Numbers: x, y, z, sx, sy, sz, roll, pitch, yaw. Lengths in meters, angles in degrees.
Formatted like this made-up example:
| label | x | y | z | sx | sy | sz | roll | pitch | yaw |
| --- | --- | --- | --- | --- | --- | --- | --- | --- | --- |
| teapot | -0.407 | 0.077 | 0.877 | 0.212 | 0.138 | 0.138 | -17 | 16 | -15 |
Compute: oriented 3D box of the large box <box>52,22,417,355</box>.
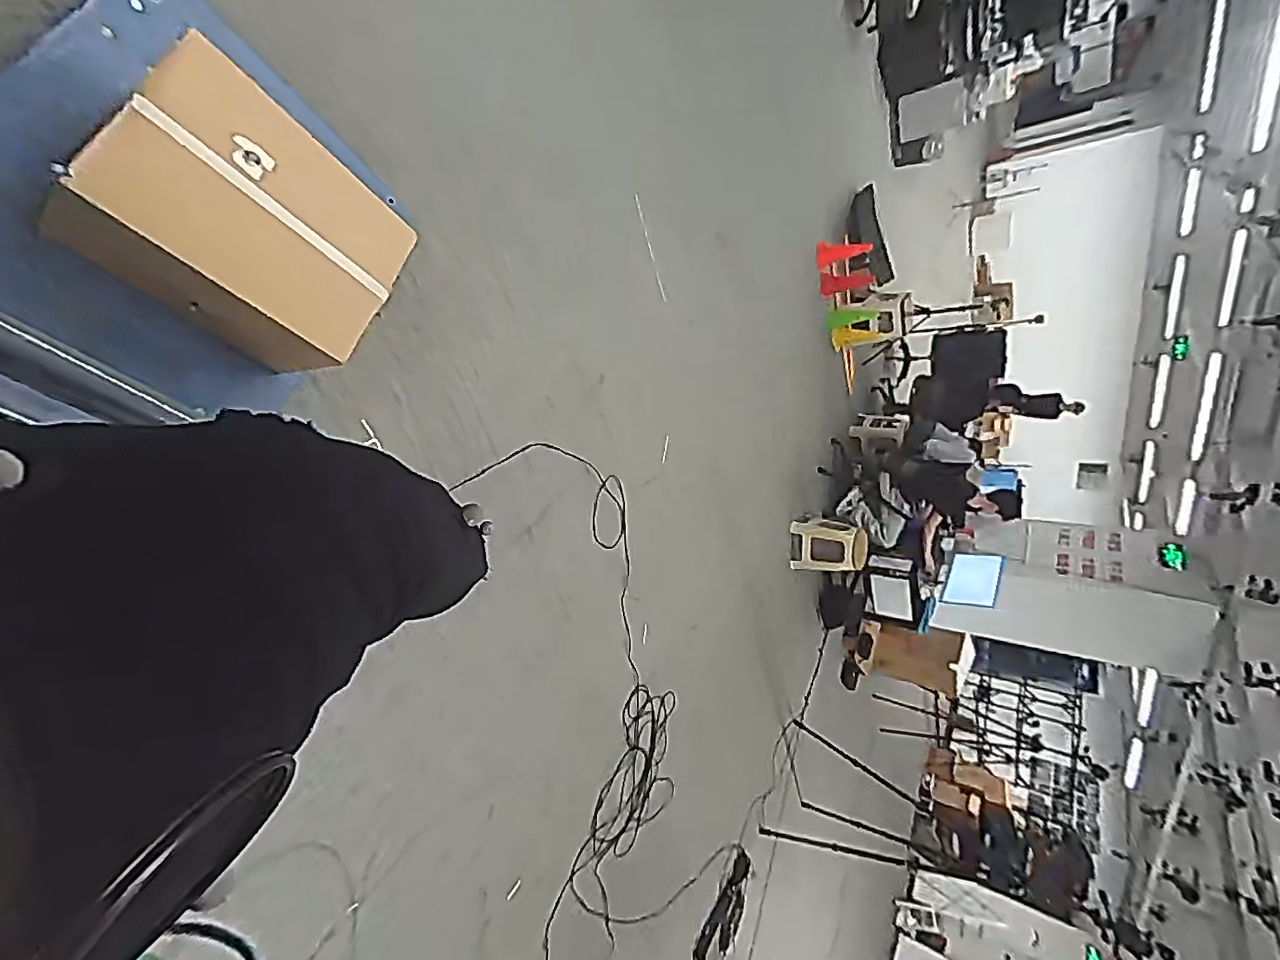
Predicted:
| label | x | y | z | sx | sy | sz | roll | pitch | yaw |
| --- | --- | --- | --- | --- | --- | --- | --- | --- | --- |
| large box | -0.714 | -0.473 | 0.991 | 0.408 | 0.320 | 0.320 | 38 | 65 | -46 |
